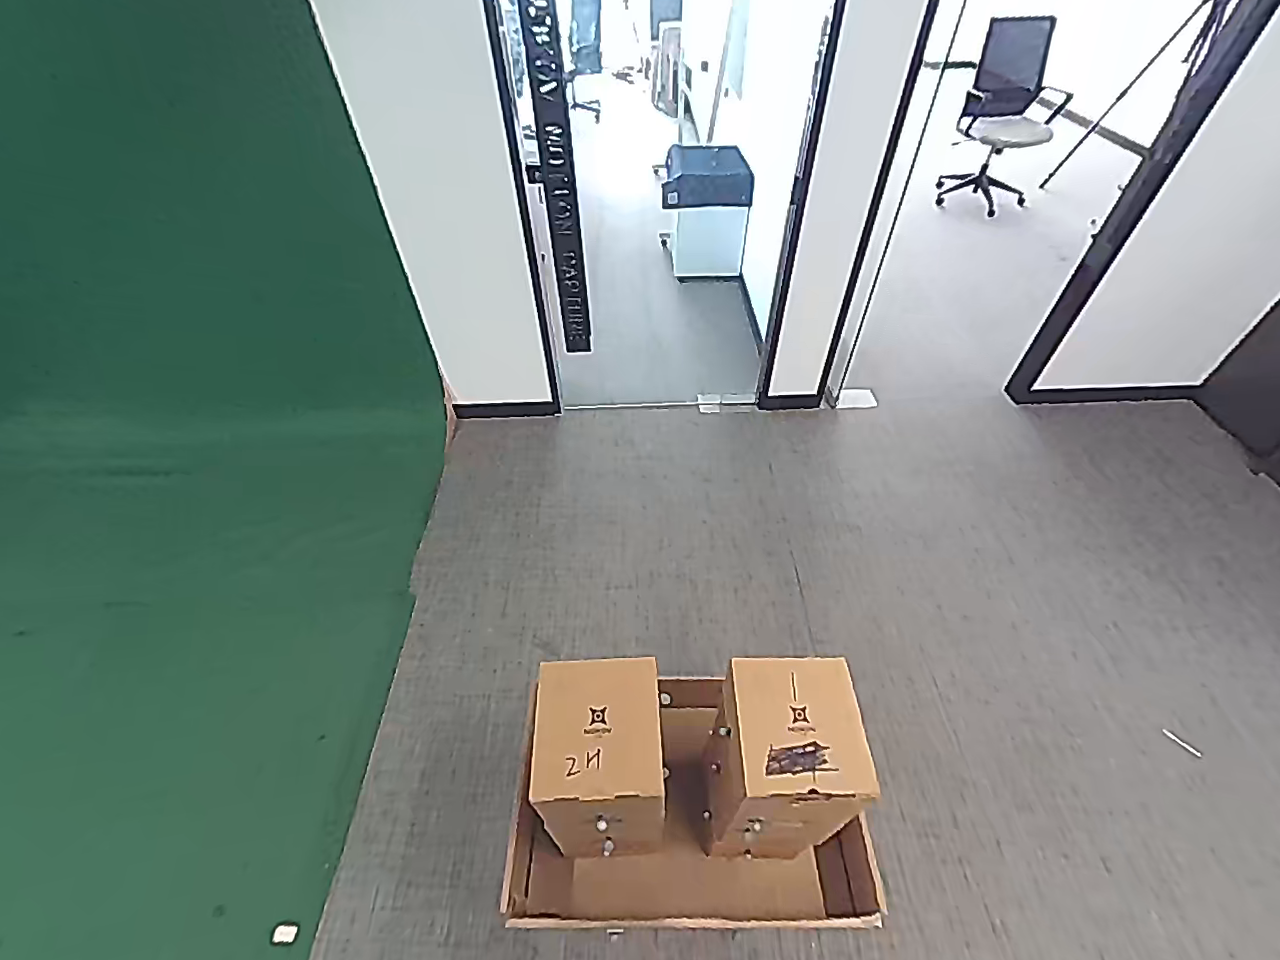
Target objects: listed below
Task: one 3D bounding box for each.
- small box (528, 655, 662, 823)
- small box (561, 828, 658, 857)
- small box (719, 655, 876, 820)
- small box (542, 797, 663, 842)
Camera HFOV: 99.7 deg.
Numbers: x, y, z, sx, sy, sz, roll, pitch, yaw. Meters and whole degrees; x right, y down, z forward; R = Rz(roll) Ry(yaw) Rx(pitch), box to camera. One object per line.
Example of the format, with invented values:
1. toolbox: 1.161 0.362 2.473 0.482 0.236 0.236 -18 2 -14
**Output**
1. small box: -0.056 0.367 0.766 0.168 0.176 0.179 -2 48 -1
2. small box: -0.057 0.592 1.007 0.179 0.176 0.168 0 48 -1
3. small box: 0.206 0.367 0.765 0.168 0.176 0.179 0 47 1
4. small box: -0.057 0.482 0.886 0.179 0.176 0.168 -2 48 -1
